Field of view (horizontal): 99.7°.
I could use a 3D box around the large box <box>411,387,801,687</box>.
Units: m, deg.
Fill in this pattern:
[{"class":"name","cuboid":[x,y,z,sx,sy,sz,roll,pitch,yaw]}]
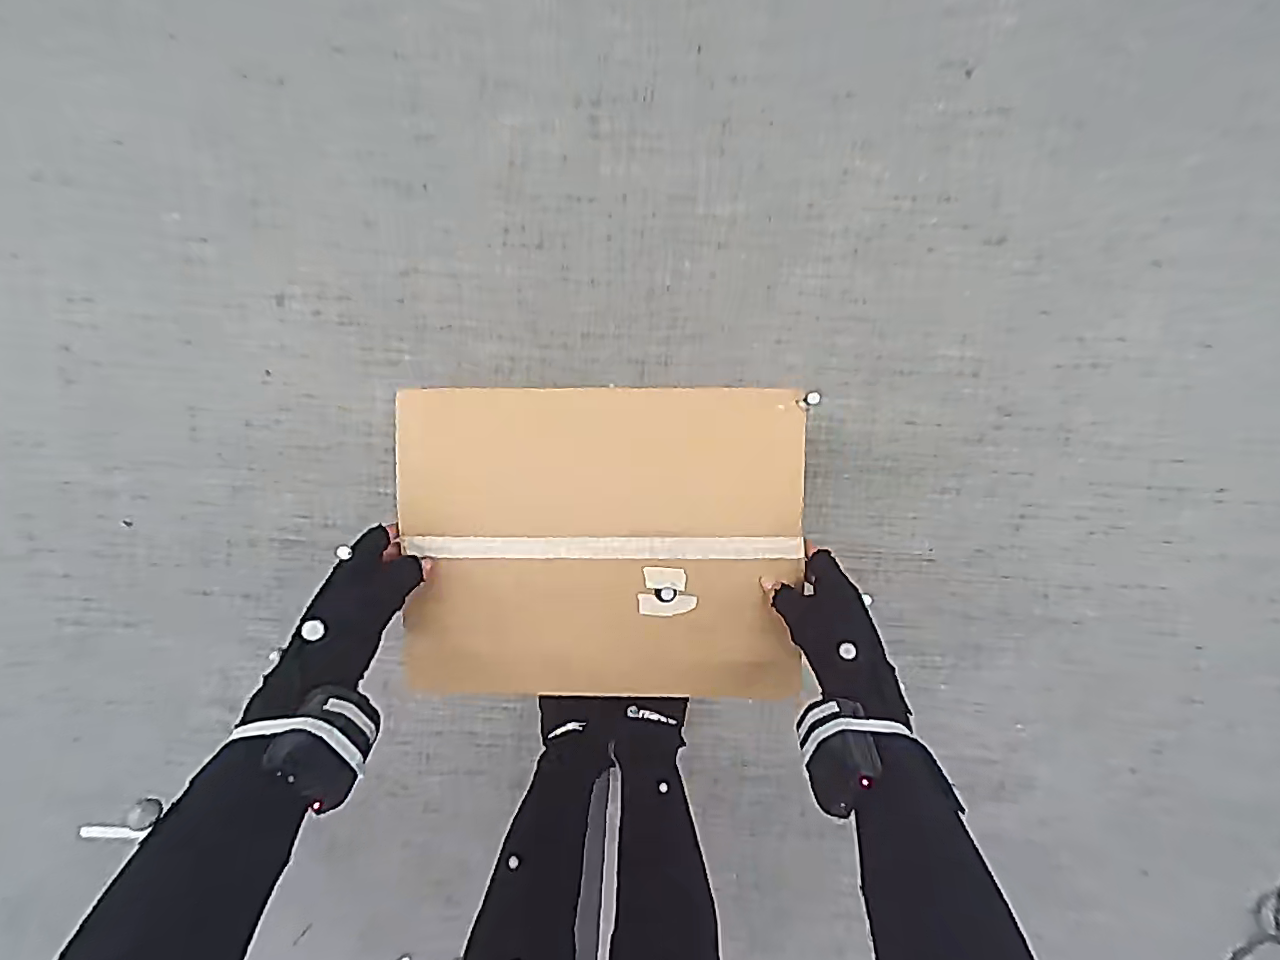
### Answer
[{"class":"large box","cuboid":[-0.033,0.053,0.706,0.408,0.320,0.320,0,95,1]}]
